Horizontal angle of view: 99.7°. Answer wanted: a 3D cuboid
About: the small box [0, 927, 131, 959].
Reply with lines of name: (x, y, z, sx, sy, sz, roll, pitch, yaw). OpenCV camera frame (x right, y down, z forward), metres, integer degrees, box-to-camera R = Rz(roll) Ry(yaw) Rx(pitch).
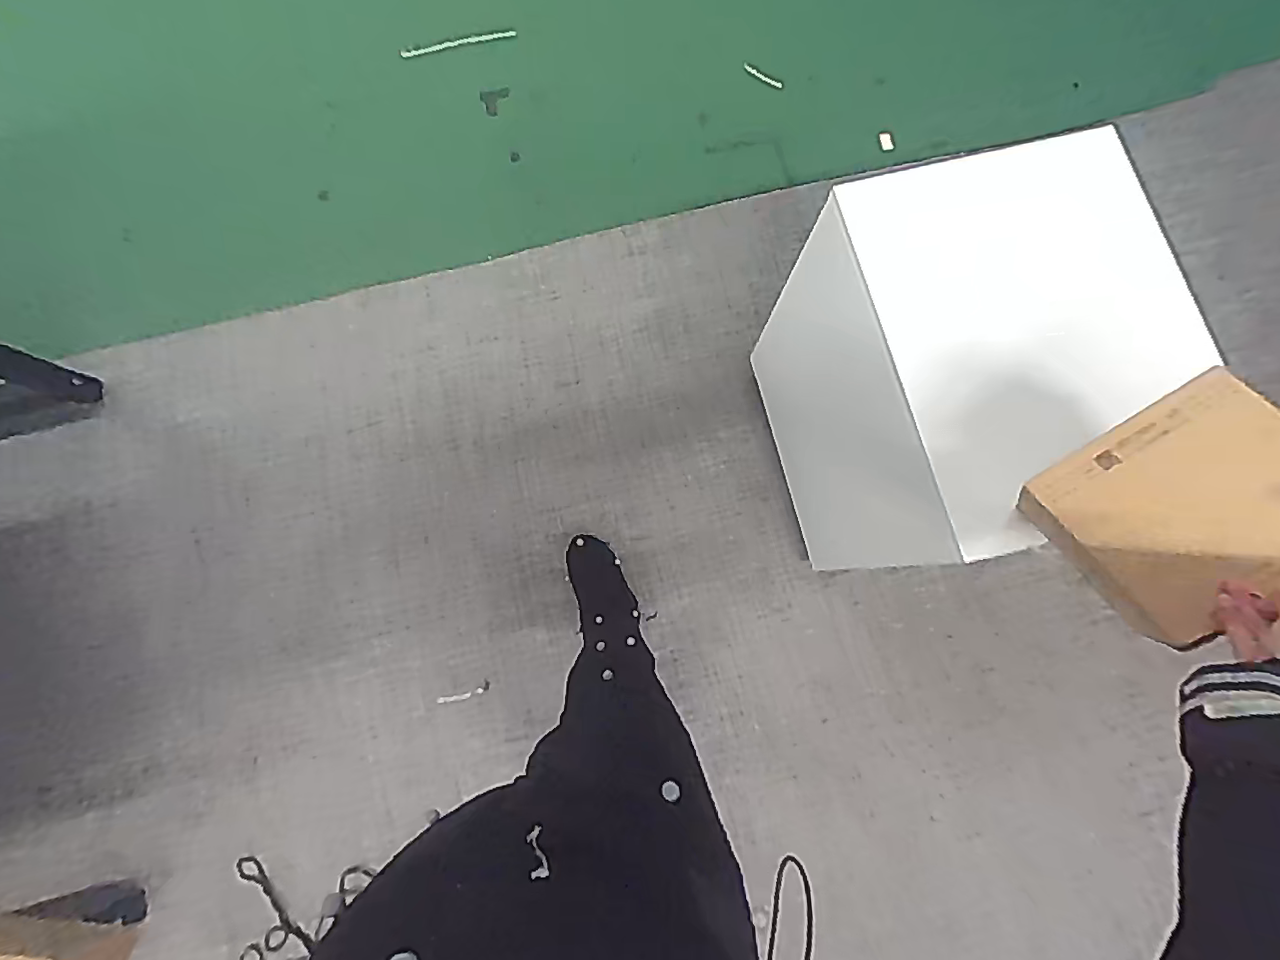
small box: (-0.594, 0.490, 0.452, 0.168, 0.179, 0.176, 16, 54, -12)
